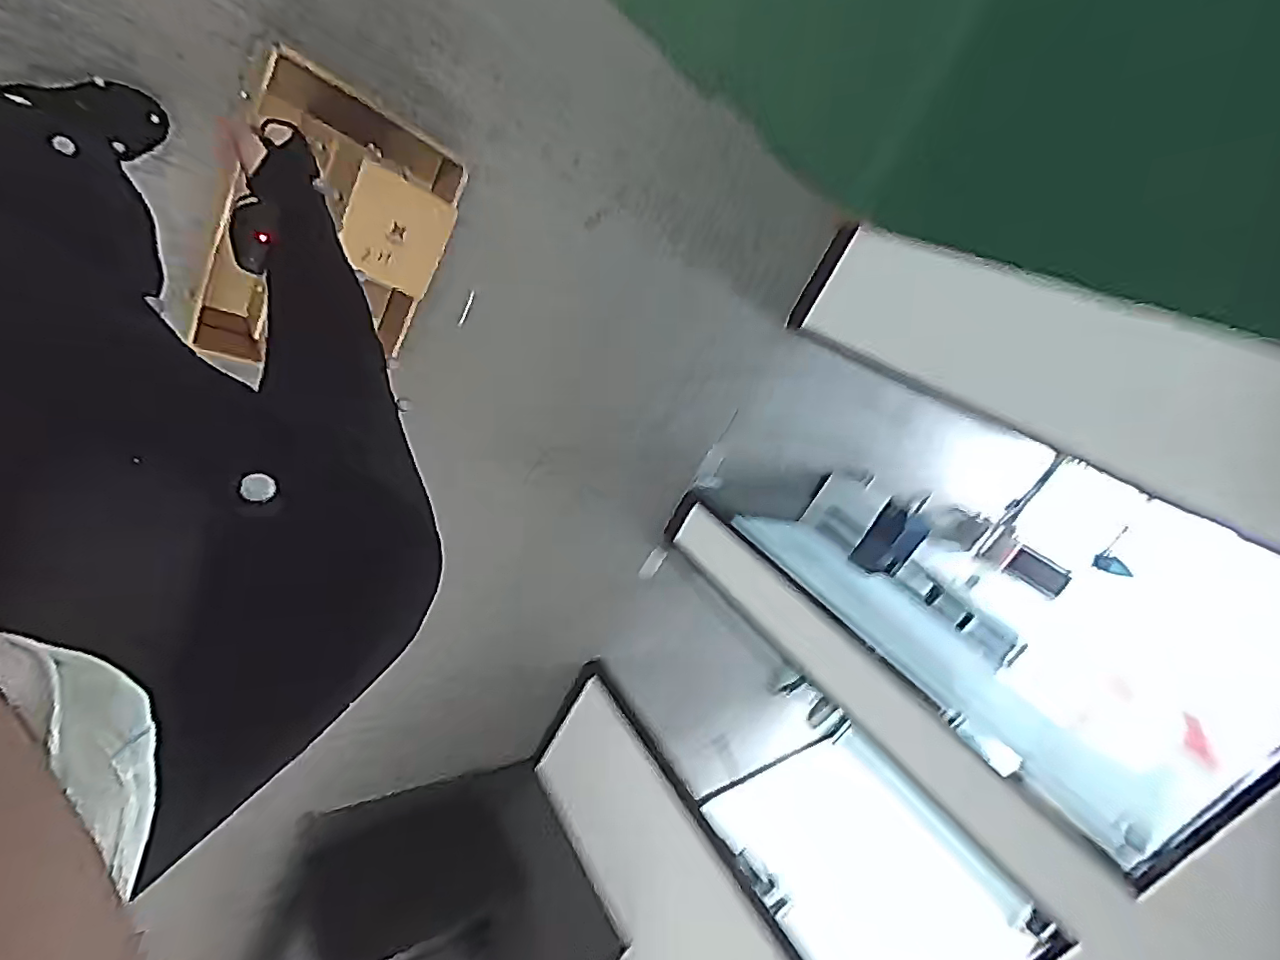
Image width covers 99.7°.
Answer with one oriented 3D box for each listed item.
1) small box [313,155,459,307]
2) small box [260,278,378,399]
[{"bbox_3d":[-0.461,-0.447,0.969,0.168,0.176,0.179,14,113,-48],"label":"small box"},{"bbox_3d":[-0.689,-0.302,1.152,0.168,0.176,0.179,12,114,-45],"label":"small box"}]
